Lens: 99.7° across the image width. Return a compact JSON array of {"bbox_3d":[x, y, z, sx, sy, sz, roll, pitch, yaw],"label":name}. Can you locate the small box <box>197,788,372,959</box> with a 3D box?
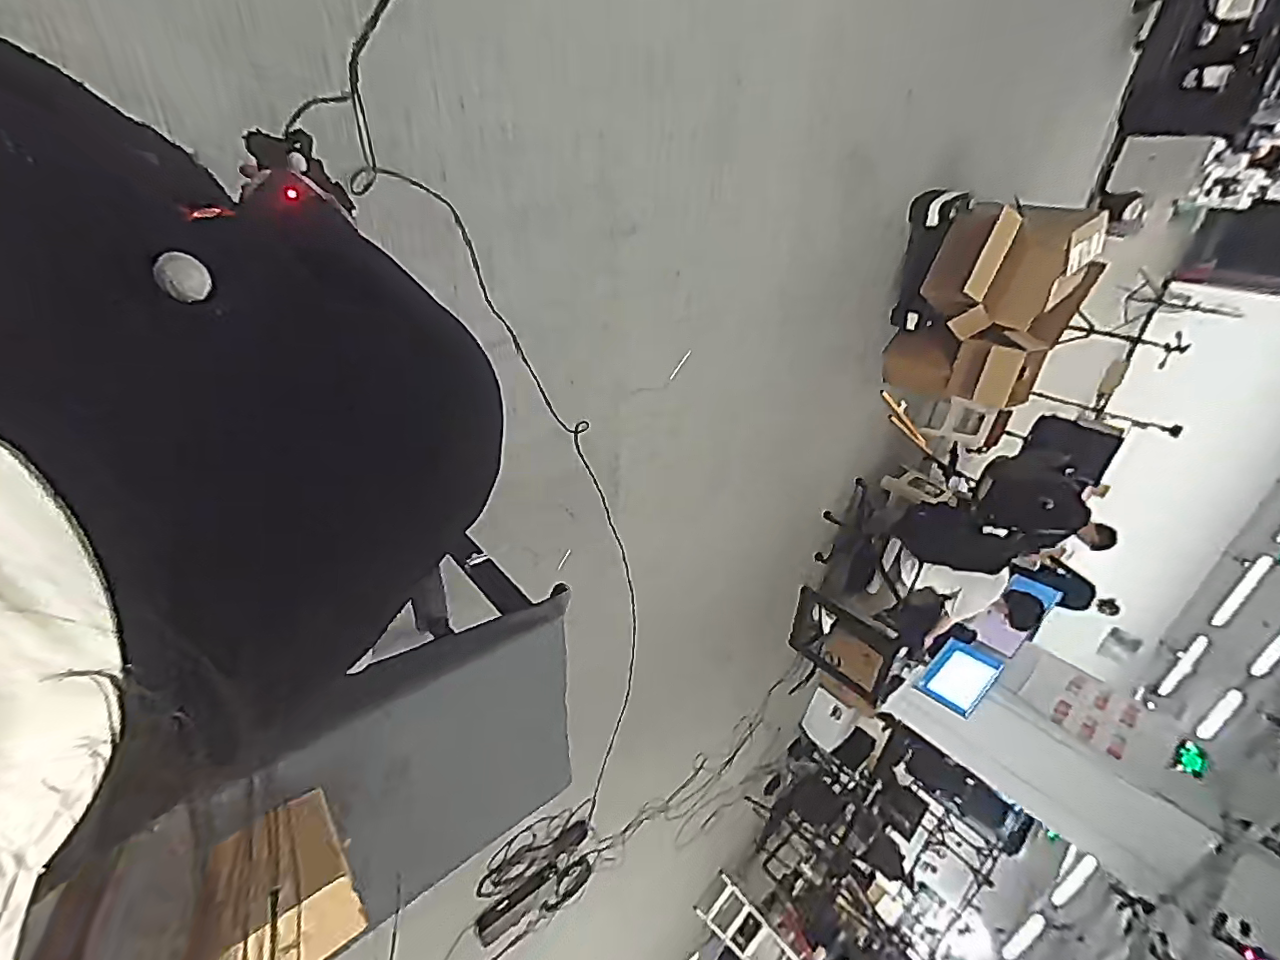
[{"bbox_3d":[-0.546,0.627,0.837,0.179,0.176,0.168,-20,127,-35],"label":"small box"}]
